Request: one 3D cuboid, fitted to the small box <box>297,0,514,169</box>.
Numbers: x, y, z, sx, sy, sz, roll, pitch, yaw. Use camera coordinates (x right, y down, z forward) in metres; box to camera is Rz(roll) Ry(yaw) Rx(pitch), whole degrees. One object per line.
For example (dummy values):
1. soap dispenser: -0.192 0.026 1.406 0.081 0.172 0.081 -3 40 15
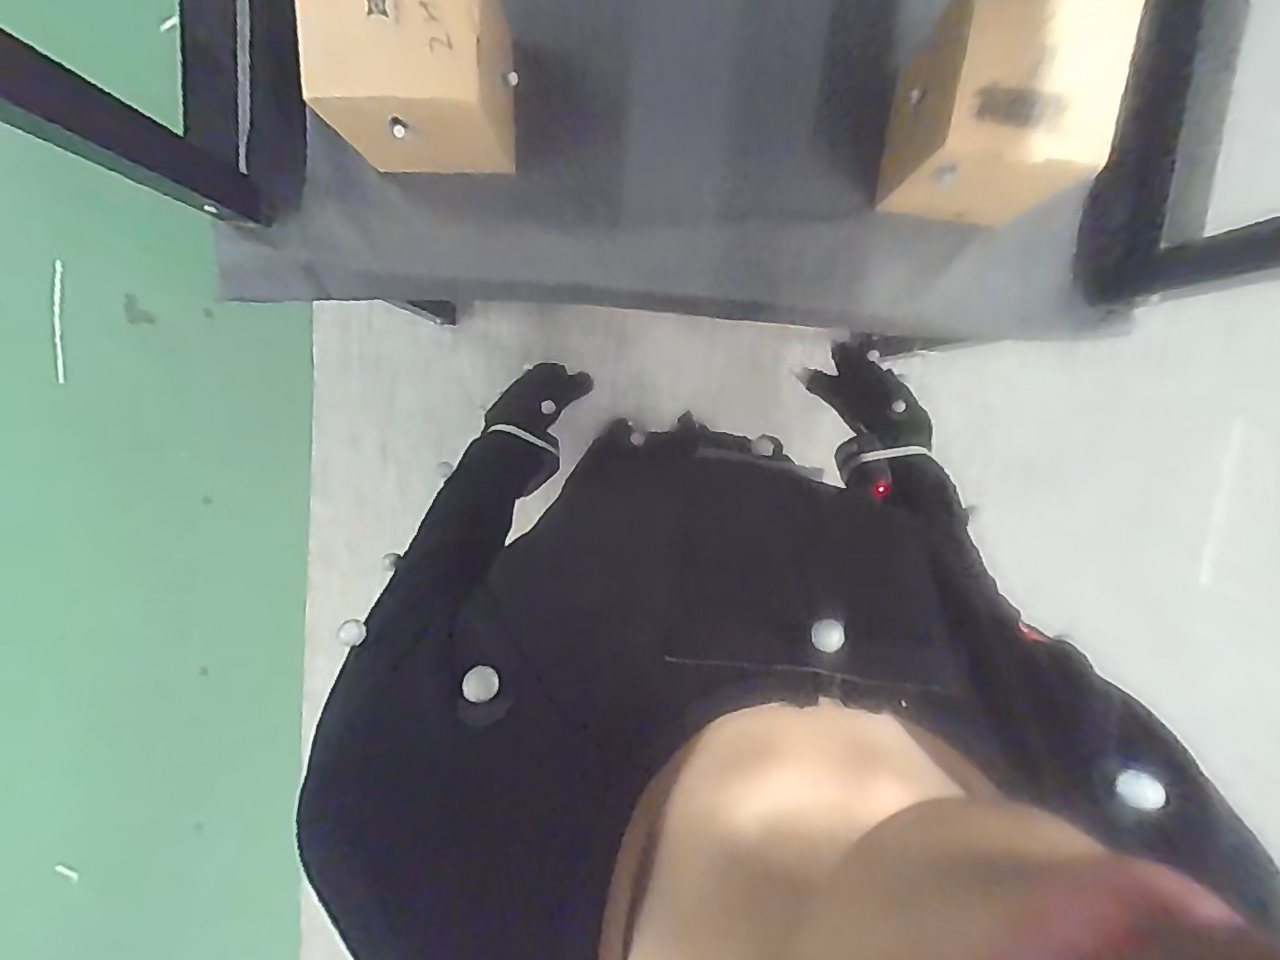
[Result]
1. small box: -0.246 -0.468 0.601 0.179 0.176 0.168 0 98 -1
